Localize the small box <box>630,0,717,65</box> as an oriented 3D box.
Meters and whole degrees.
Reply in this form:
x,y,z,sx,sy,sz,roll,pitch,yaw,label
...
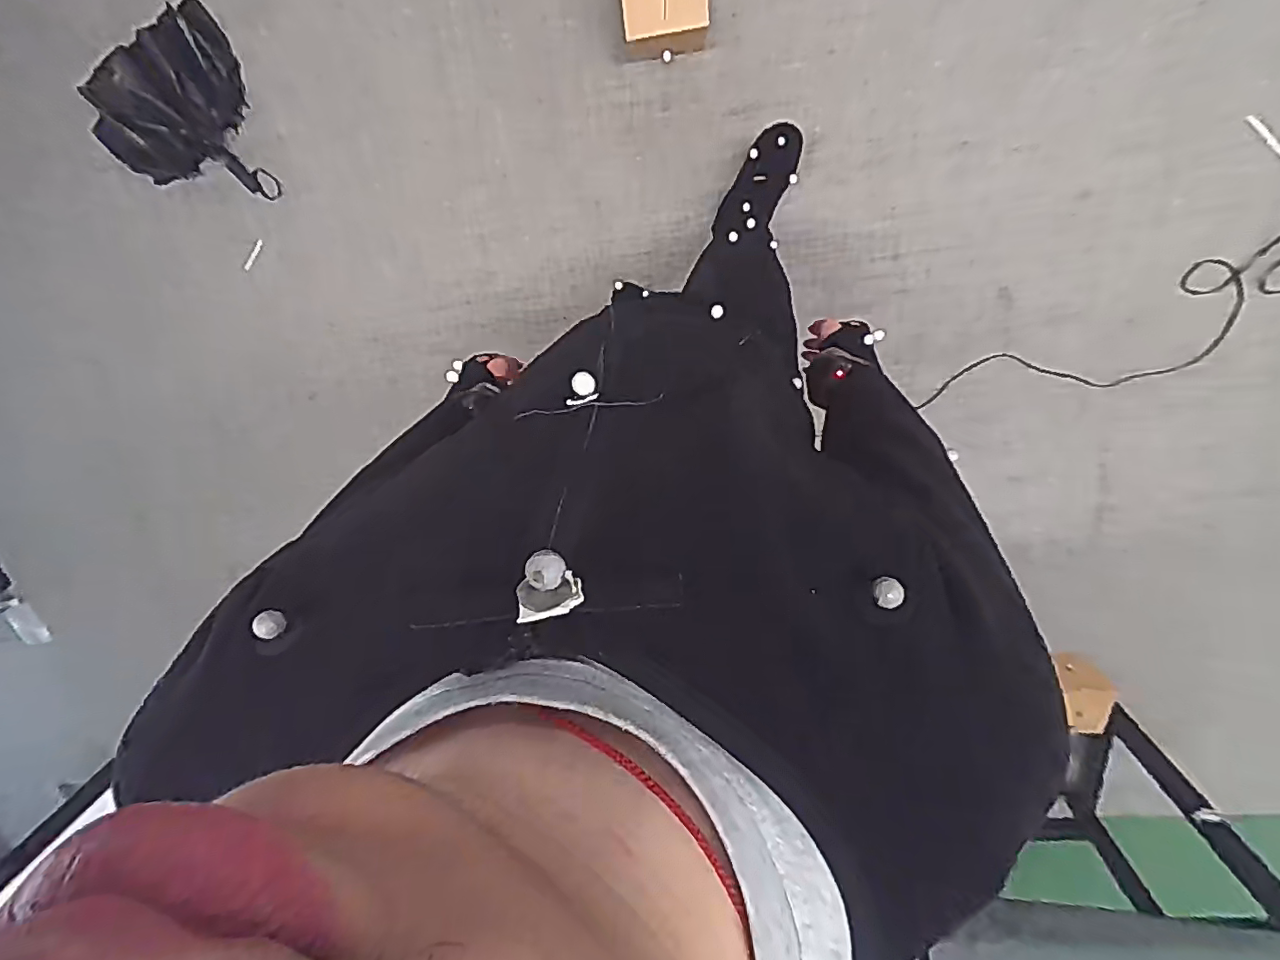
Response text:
x,y,z,sx,sy,sz,roll,pitch,yaw,label
0.067,-0.976,1.089,0.168,0.176,0.179,-3,115,9,small box
